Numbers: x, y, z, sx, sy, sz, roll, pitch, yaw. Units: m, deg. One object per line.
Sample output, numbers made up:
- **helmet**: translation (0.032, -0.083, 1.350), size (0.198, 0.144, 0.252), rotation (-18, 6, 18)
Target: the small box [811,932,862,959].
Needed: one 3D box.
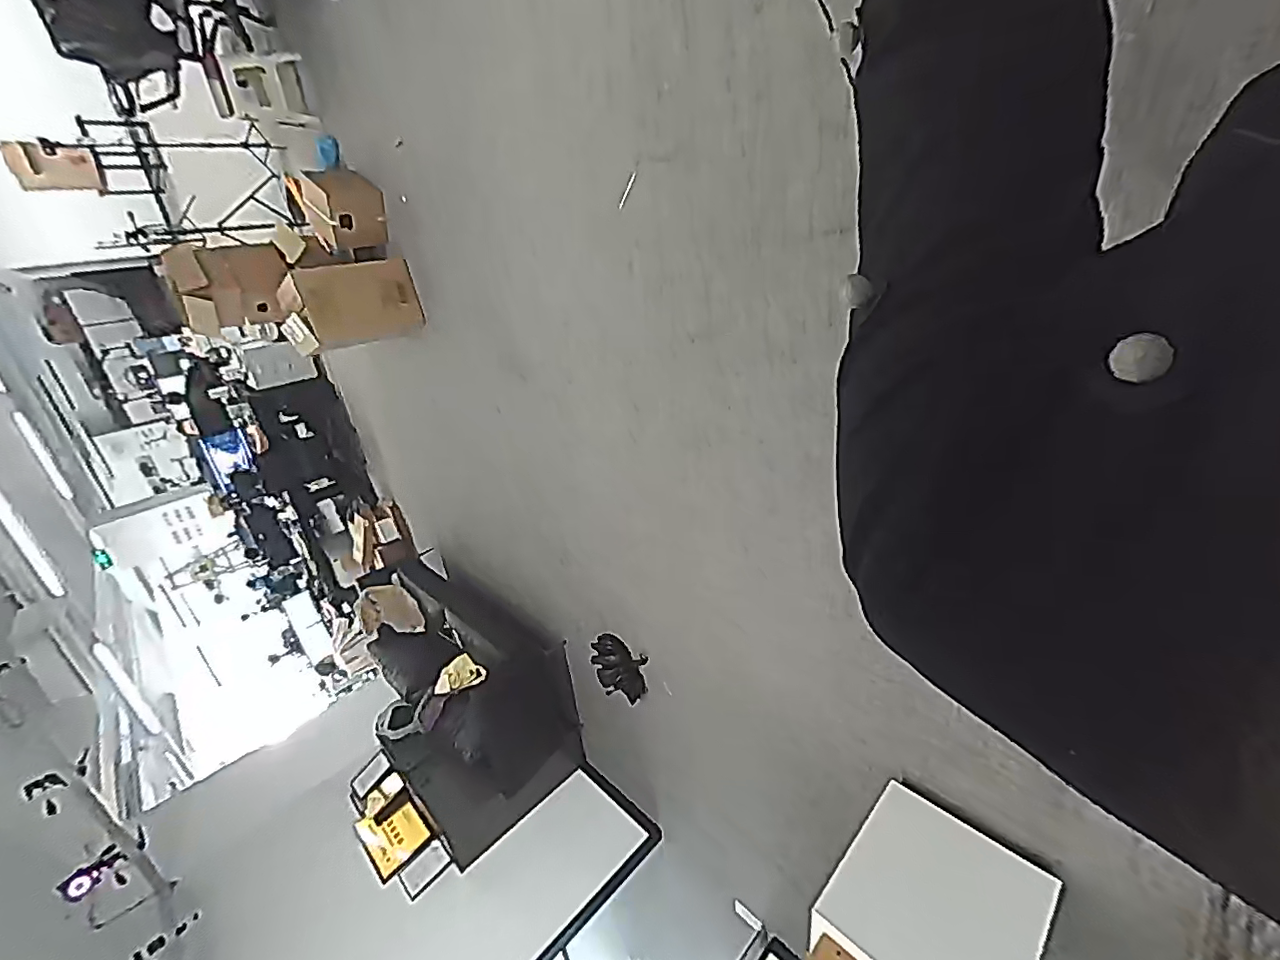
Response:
- **small box**: translation (0.569, 1.464, 1.542), size (0.168, 0.176, 0.179), rotation (19, 126, 43)
